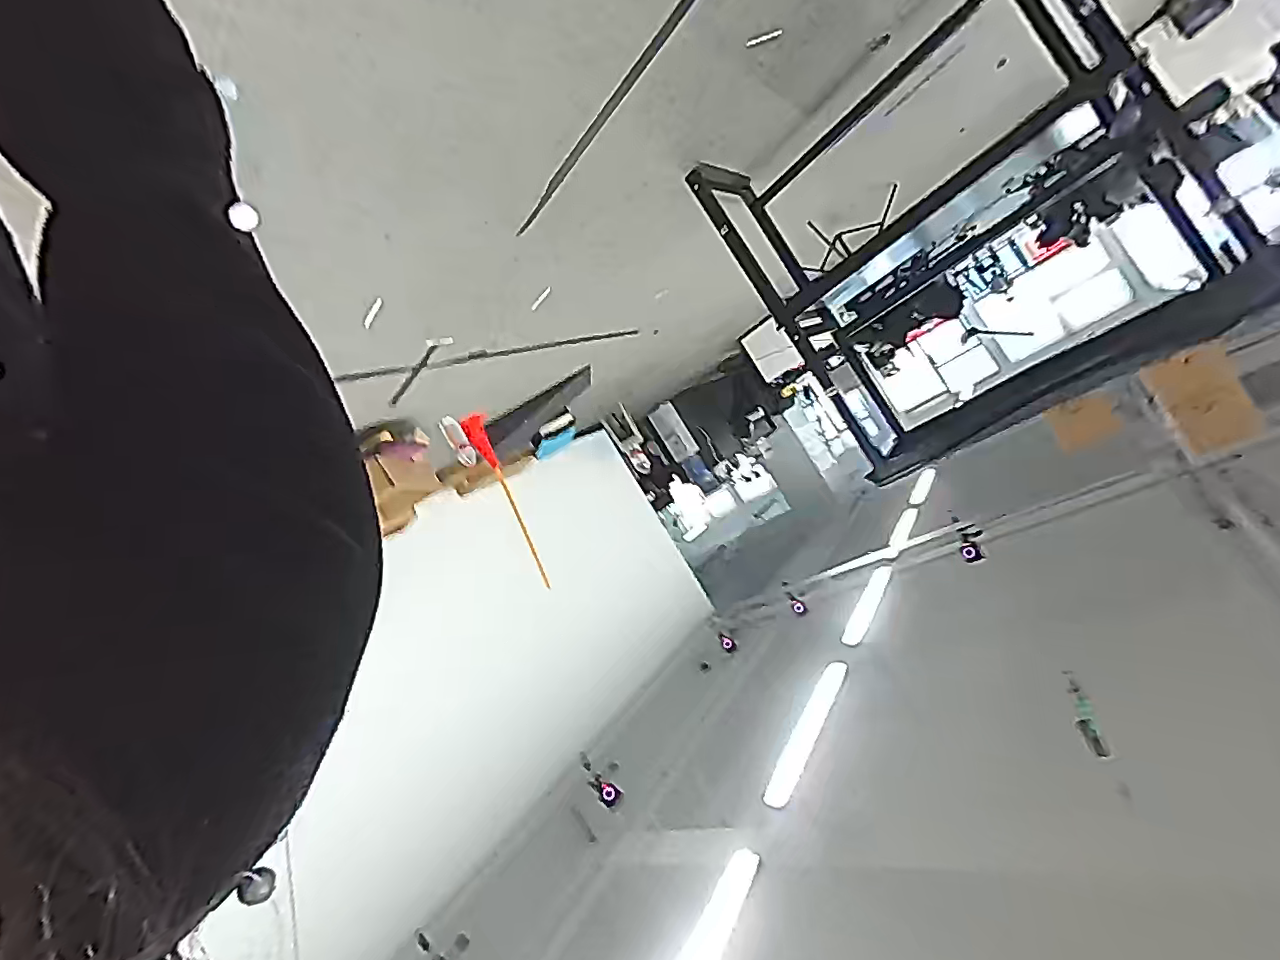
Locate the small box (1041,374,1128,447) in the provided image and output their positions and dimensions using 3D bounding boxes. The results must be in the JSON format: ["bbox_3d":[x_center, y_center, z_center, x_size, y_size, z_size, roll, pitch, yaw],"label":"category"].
[{"bbox_3d":[1.483,-0.239,1.816,0.168,0.176,0.179,-34,179,38],"label":"small box"}]

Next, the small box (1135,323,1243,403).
[{"bbox_3d":[1.659,-0.361,1.646,0.168,0.176,0.179,-33,179,39],"label":"small box"}]
